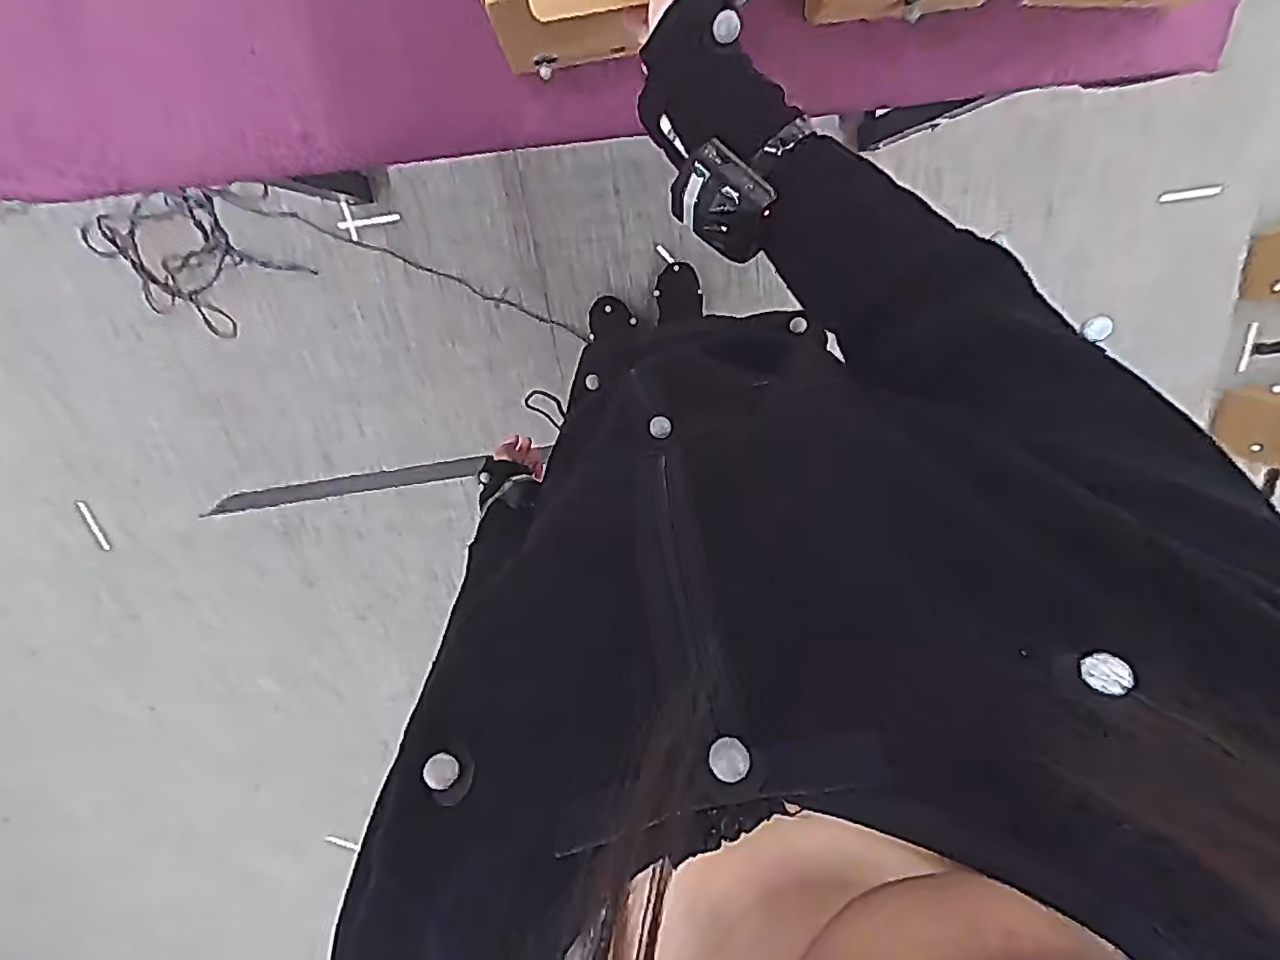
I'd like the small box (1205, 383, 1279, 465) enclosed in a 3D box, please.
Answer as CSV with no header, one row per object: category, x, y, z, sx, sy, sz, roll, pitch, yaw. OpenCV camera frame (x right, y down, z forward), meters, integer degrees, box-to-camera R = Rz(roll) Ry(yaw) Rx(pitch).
small box,1.737,-0.158,1.492,0.168,0.176,0.179,-6,113,-3

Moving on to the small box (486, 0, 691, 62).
small box,-0.047,-0.452,0.413,0.168,0.176,0.179,-11,112,-1

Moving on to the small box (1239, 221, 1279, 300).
small box,1.646,-0.548,1.326,0.168,0.176,0.179,-15,112,0
